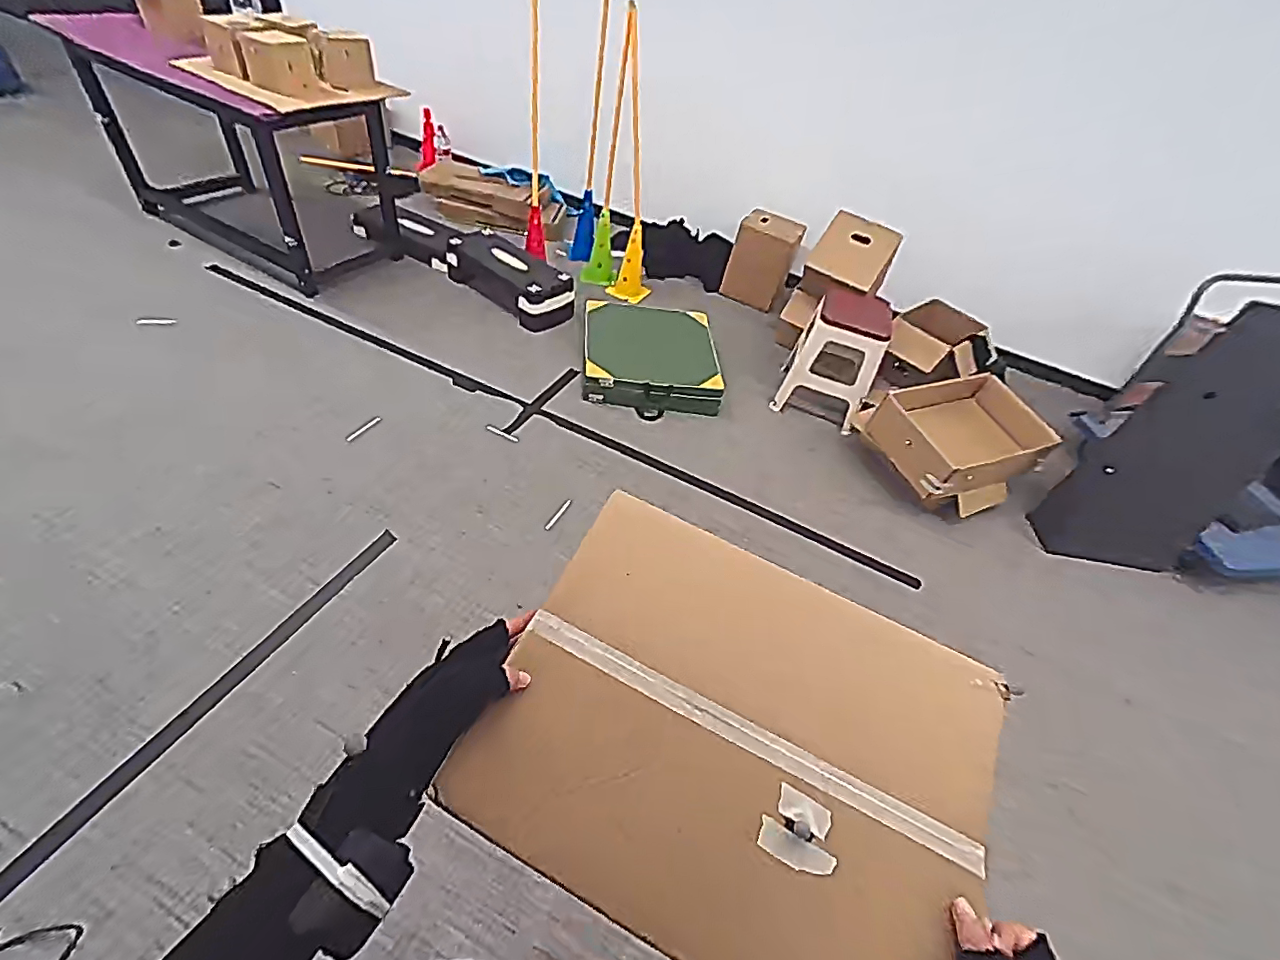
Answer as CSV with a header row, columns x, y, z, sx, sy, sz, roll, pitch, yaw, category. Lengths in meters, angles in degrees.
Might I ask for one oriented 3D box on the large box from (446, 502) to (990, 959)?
x,y,z,sx,sy,sz,roll,pitch,yaw,category
0.073,0.292,0.593,0.408,0.320,0.320,26,61,10,large box
